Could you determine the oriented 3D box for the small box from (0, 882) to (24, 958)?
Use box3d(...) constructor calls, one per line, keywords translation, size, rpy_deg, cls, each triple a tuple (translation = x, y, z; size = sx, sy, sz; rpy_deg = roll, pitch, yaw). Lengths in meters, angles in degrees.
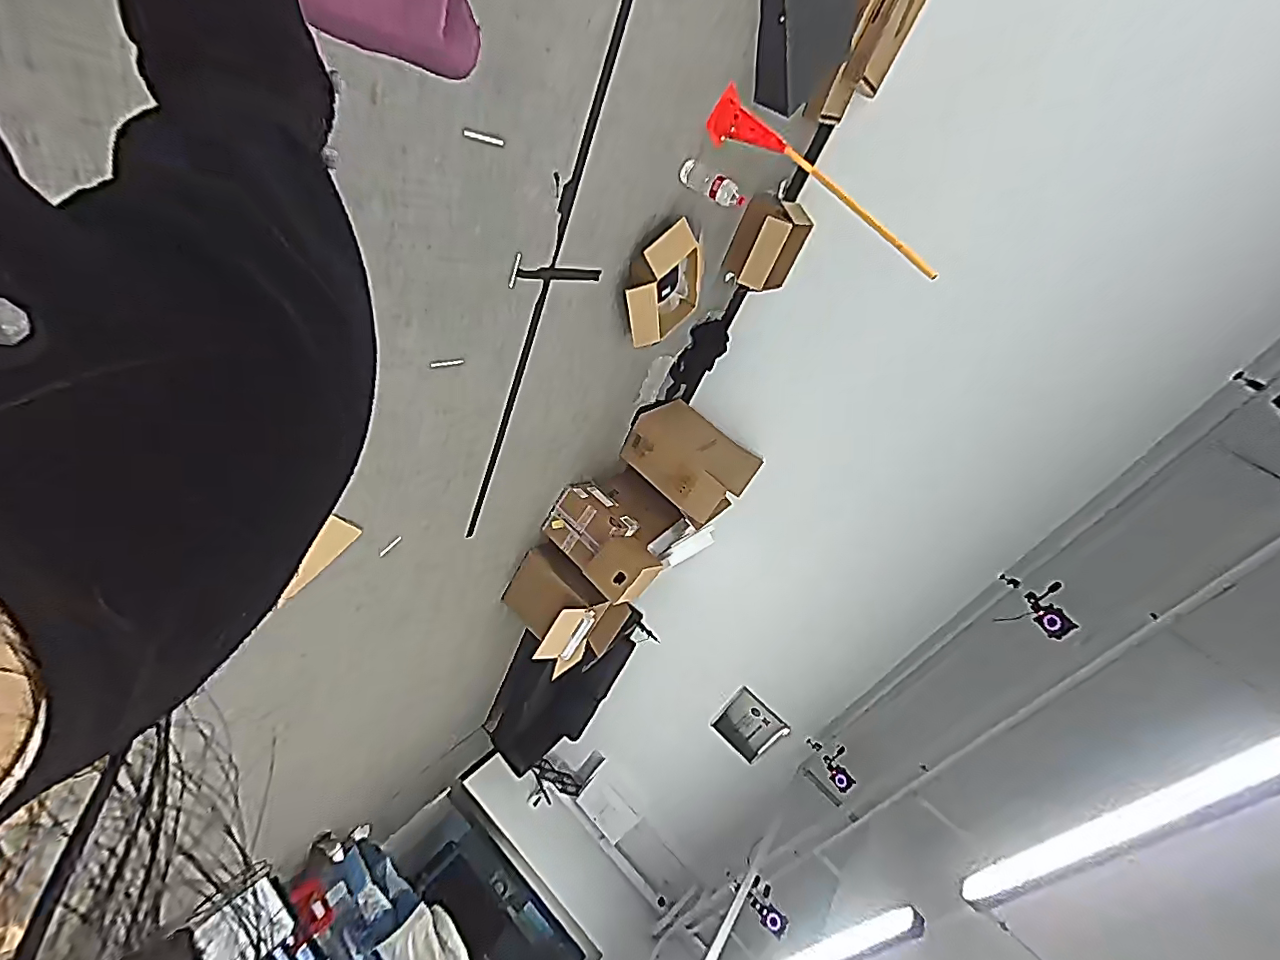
box3d(translation=(-1.612, 1.064, 1.267), size=(0.179, 0.176, 0.168), rpy_deg=(-25, 151, -54), cls="small box")
